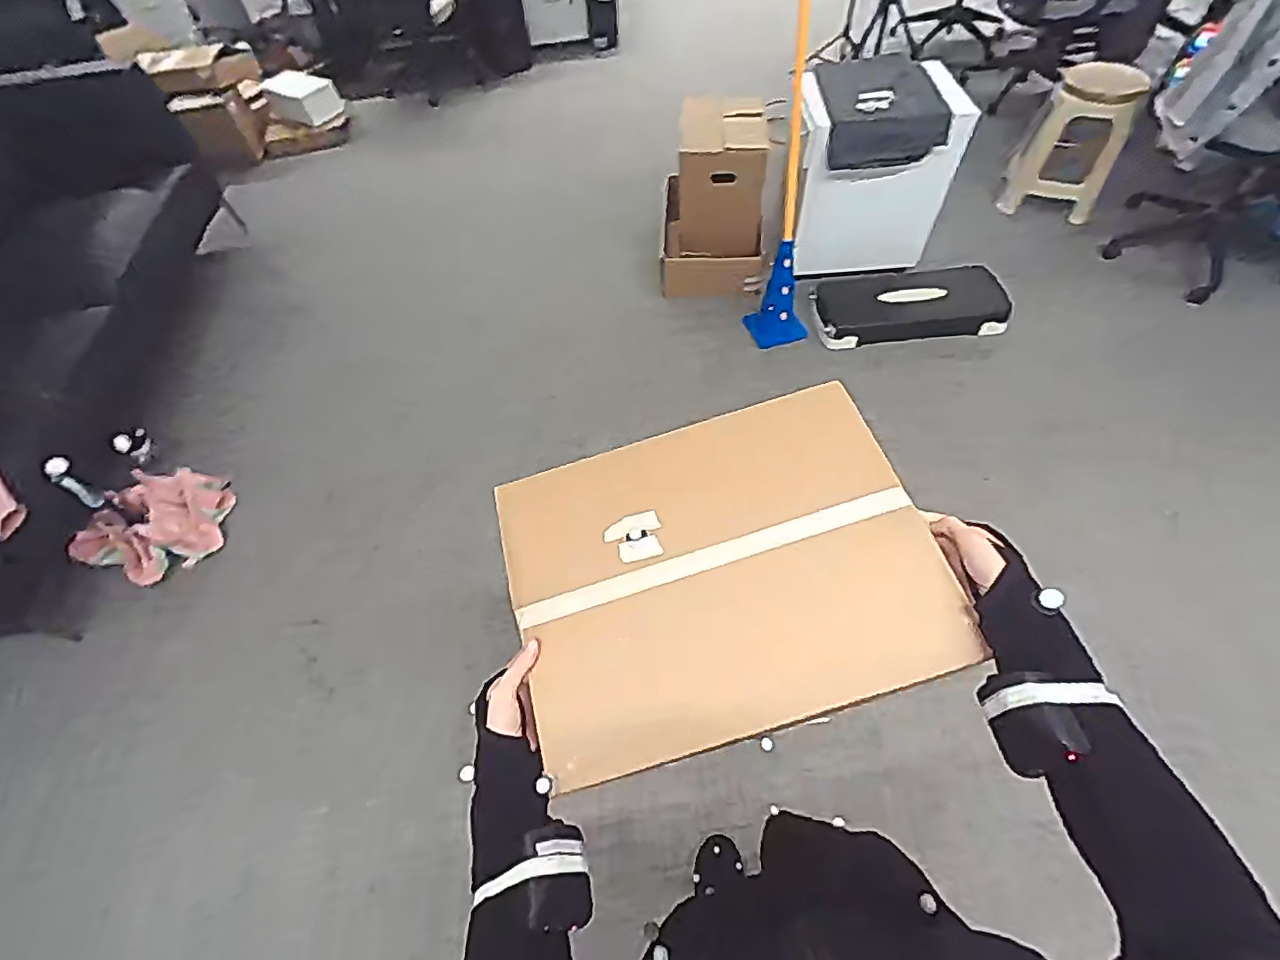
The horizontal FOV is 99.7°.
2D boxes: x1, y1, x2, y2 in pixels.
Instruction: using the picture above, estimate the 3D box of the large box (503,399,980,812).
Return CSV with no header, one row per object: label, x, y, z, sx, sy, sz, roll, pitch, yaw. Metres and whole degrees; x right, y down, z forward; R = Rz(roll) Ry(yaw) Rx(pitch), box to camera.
large box,0.097,0.165,0.675,0.408,0.320,0.320,-19,60,0
